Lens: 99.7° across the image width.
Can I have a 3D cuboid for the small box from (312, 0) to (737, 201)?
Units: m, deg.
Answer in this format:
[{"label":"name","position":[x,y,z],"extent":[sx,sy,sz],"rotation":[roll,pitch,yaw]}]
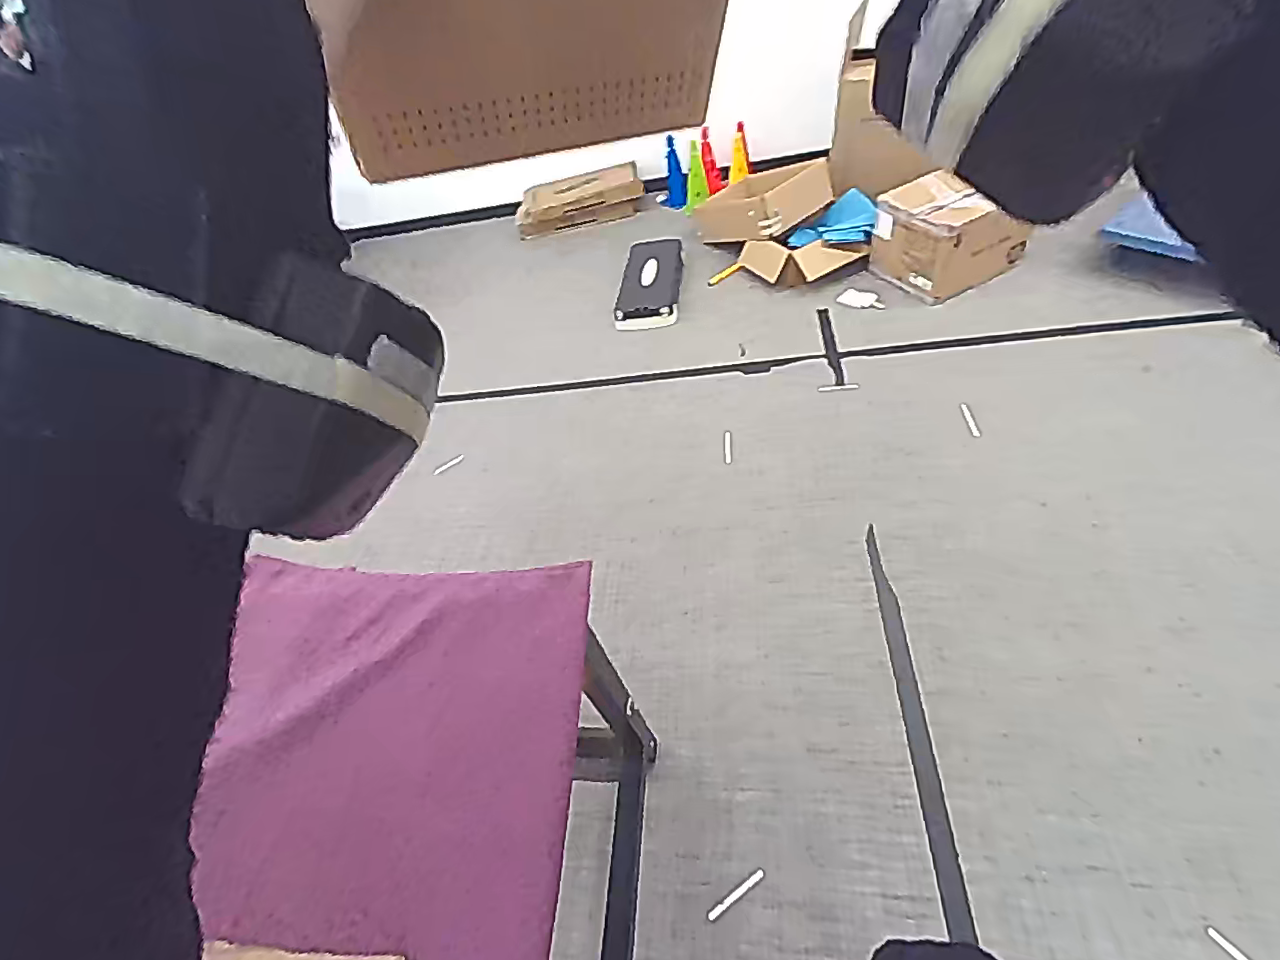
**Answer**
[{"label":"small box","position":[-0.058,-0.259,0.237],"extent":[0.179,0.176,0.168],"rotation":[-16,69,-10]}]
